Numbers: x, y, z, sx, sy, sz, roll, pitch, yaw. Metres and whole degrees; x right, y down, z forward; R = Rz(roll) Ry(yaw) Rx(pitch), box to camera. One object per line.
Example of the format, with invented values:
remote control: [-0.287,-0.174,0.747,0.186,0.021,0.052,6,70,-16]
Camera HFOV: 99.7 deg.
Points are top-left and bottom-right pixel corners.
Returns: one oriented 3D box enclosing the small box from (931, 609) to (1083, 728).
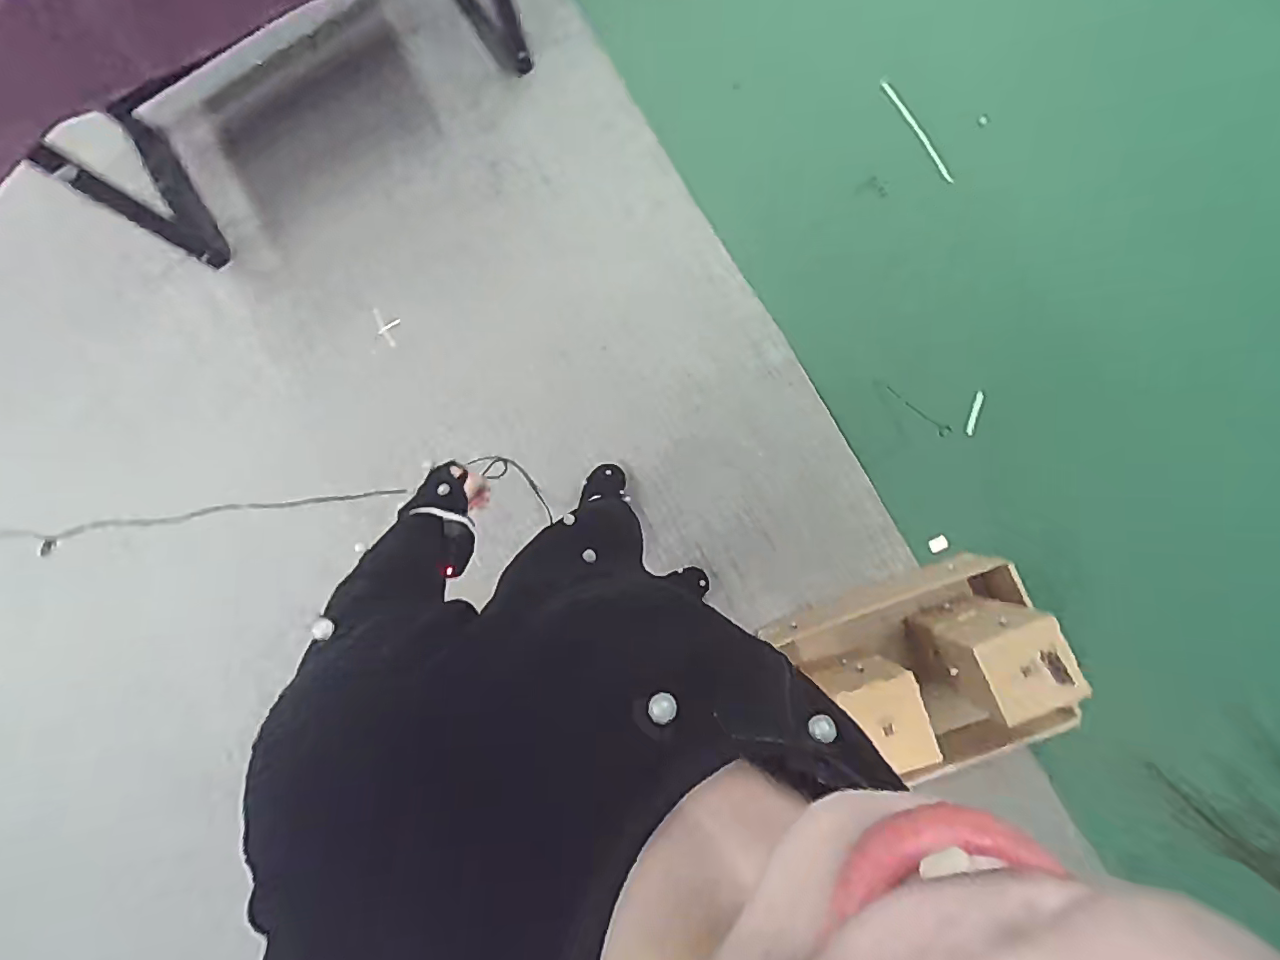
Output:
small box: [0.761,0.386,1.141,0.179,0.176,0.168,-22,84,2]

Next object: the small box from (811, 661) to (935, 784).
small box: [0.483,0.503,1.147,0.168,0.176,0.179,-16,81,1]
